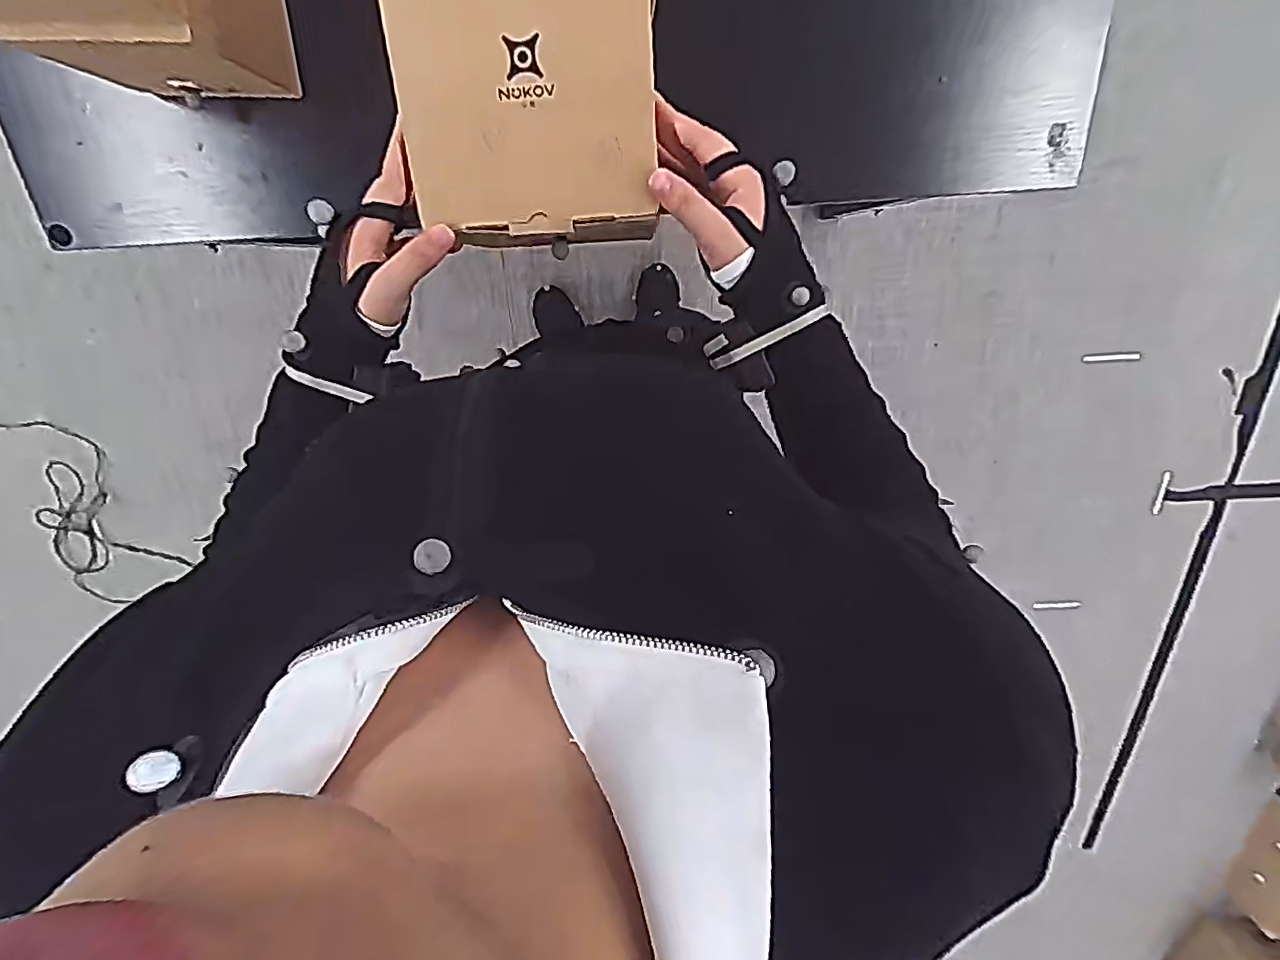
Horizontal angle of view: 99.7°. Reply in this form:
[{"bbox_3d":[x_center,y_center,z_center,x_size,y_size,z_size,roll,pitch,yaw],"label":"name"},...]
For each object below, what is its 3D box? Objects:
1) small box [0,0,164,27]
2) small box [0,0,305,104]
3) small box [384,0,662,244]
[{"bbox_3d":[-0.438,-0.406,0.323,0.179,0.176,0.168,0,111,-1],"label":"small box"},{"bbox_3d":[-0.438,-0.461,0.479,0.168,0.176,0.179,-1,113,-1],"label":"small box"},{"bbox_3d":[-0.068,-0.278,0.412,0.168,0.176,0.179,-3,111,2],"label":"small box"}]
